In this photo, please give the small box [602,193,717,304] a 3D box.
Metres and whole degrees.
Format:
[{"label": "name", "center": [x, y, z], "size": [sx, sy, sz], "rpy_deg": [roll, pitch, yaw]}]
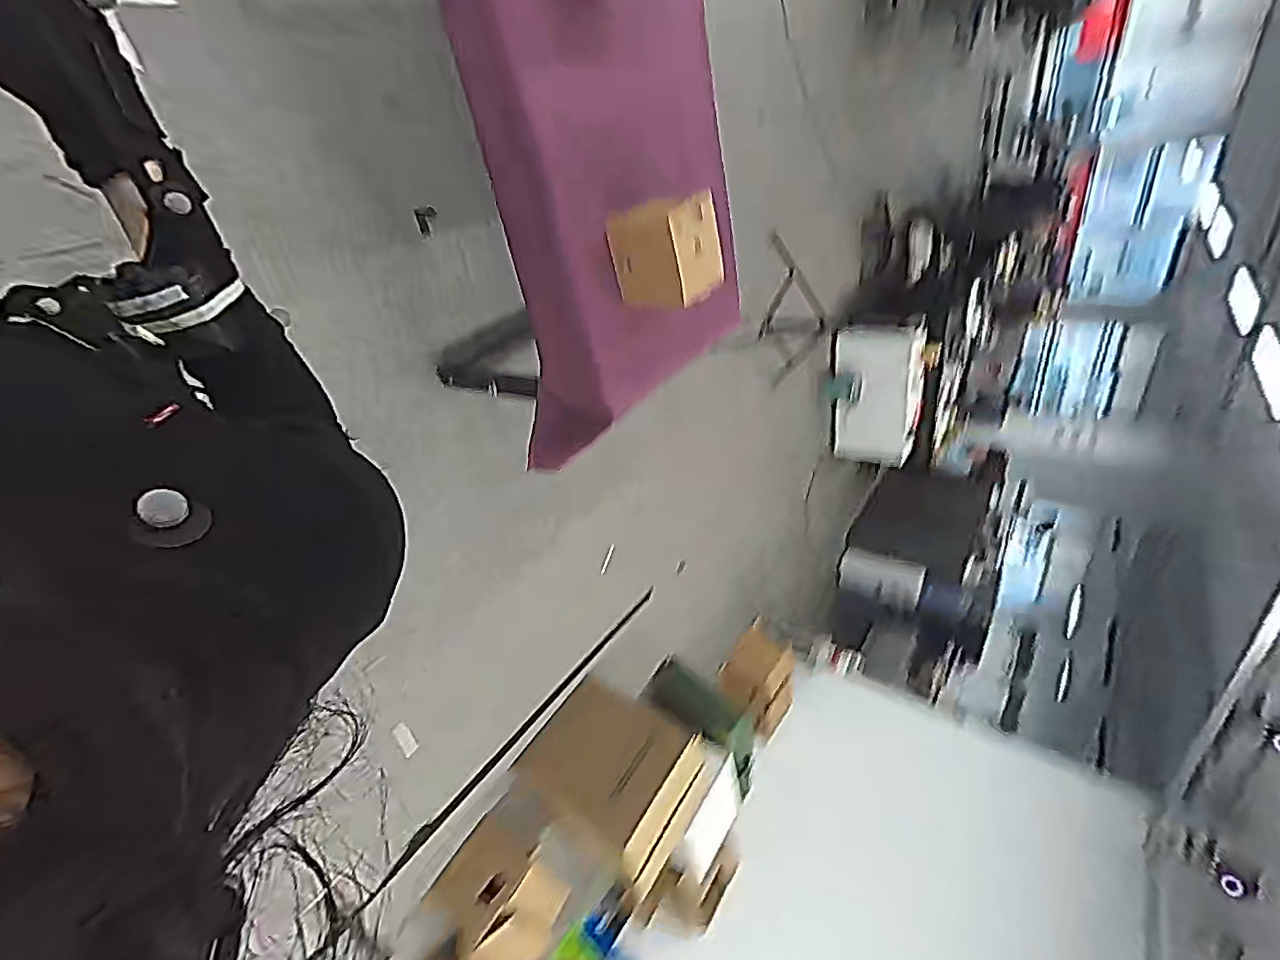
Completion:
[{"label": "small box", "center": [0.044, -0.494, 1.157], "size": [0.168, 0.176, 0.179], "rpy_deg": [-46, 135, -36]}]
